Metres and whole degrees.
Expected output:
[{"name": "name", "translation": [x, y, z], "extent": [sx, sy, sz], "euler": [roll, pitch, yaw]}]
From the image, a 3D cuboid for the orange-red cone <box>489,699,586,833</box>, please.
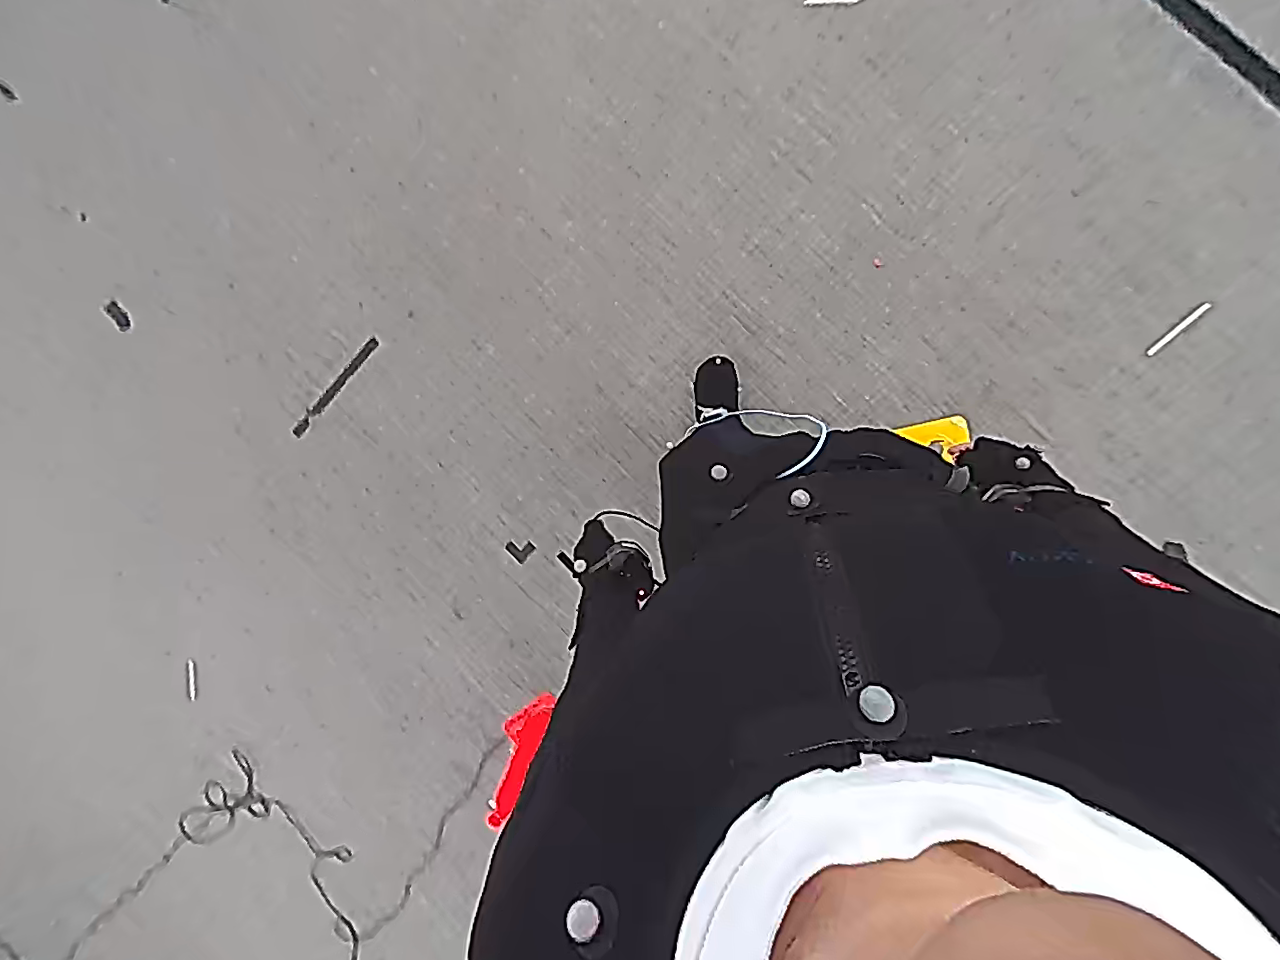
[{"name": "orange-red cone", "translation": [-0.307, 0.780, 1.424], "extent": [0.199, 0.360, 0.198], "euler": [-38, 90, 10]}]
